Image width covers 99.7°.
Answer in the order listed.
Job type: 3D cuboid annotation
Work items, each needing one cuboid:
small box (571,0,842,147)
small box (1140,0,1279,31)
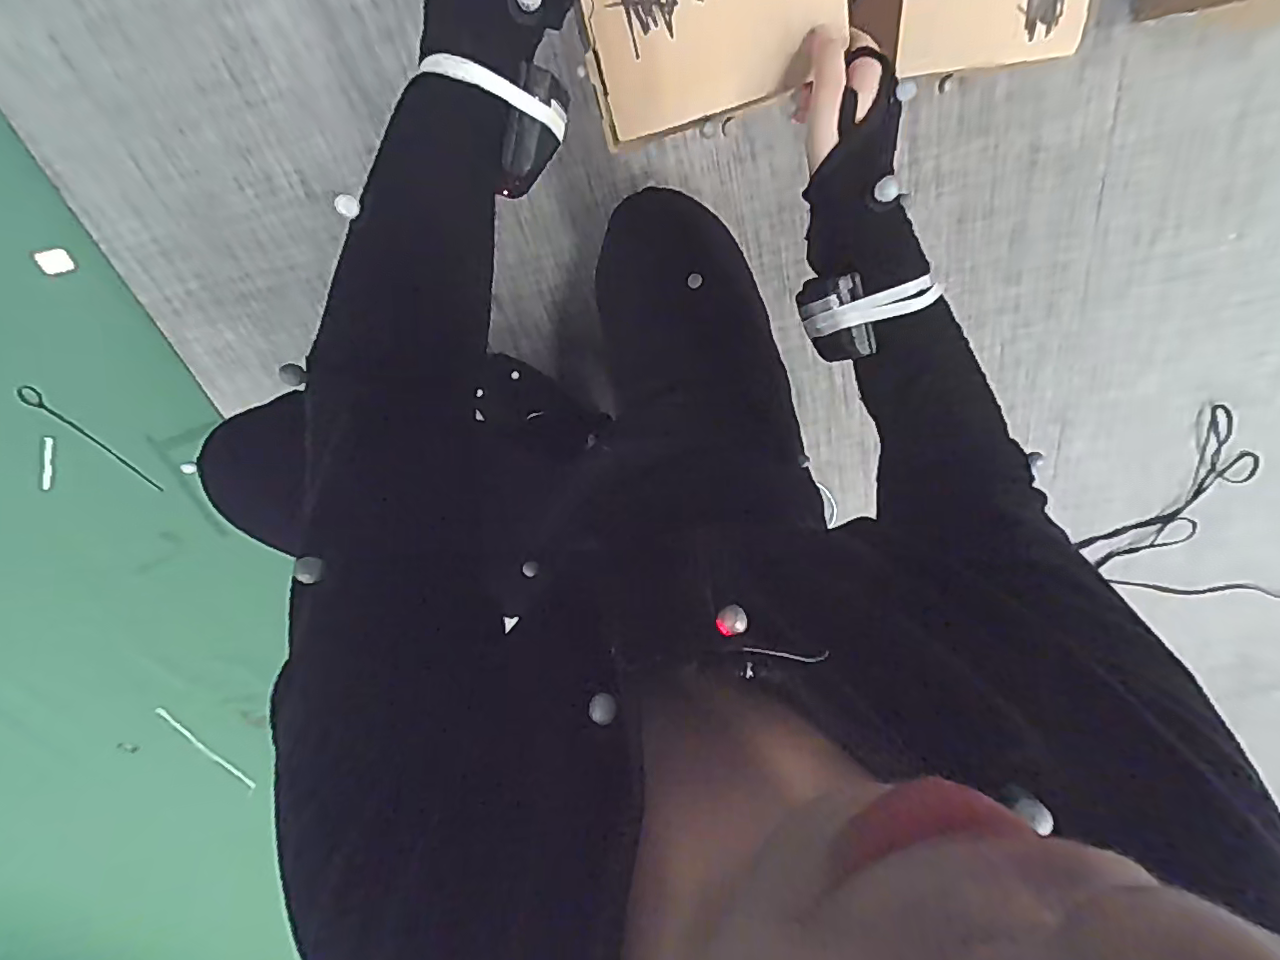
[{"bbox_3d":[0.037,-0.376,0.422,0.179,0.176,0.168,-15,120,6],"label":"small box"},{"bbox_3d":[0.659,-0.553,0.522,0.179,0.176,0.168,0,123,-2],"label":"small box"}]
